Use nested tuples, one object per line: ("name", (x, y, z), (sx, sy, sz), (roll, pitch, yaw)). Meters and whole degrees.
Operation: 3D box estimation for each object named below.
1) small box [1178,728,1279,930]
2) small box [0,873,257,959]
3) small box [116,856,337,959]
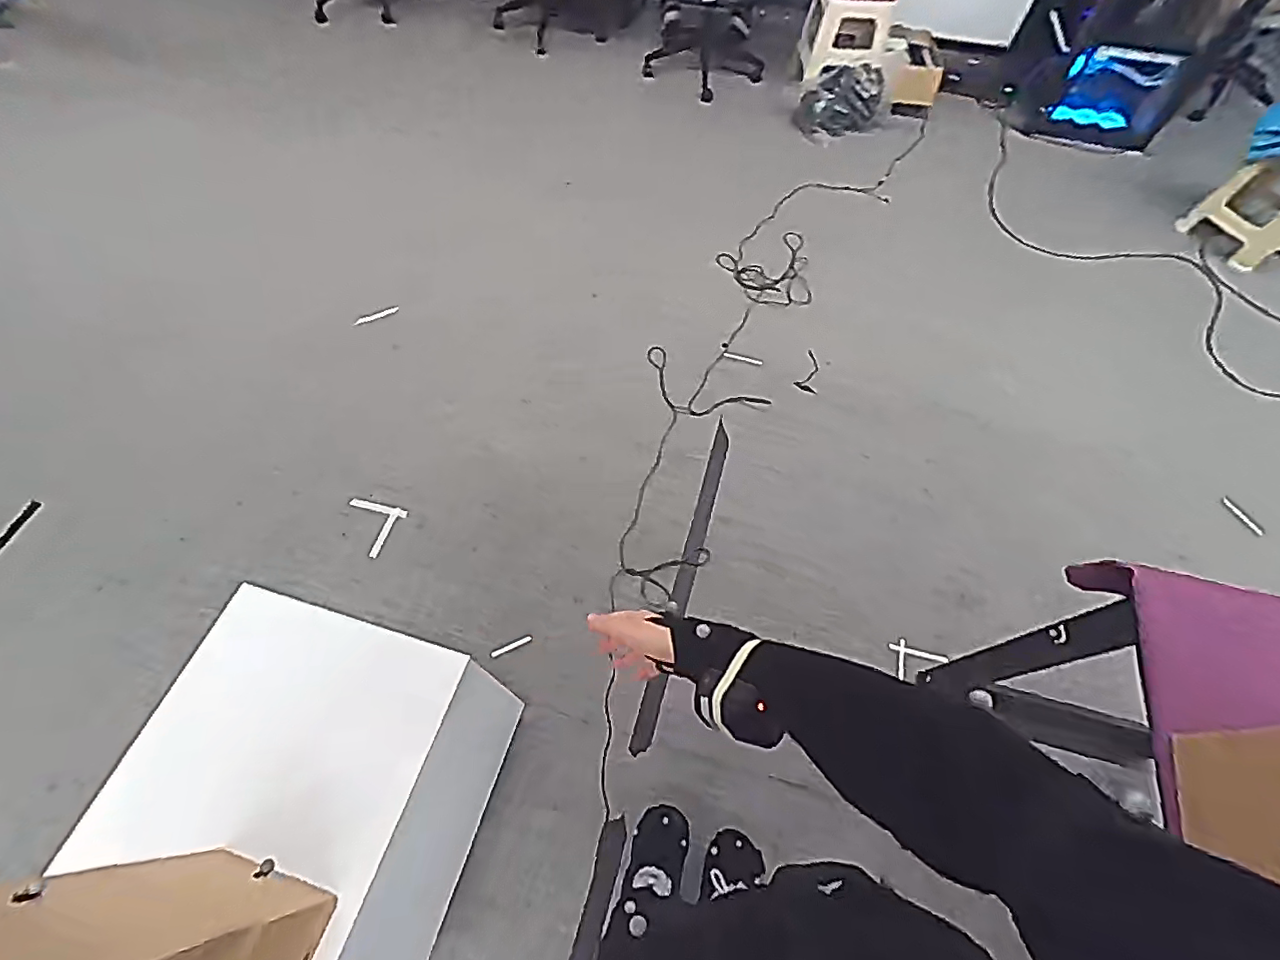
("small box", (0.706, 0.371, 0.543), (0.168, 0.176, 0.179), (18, 62, 8))
("small box", (-0.467, 0.443, 0.433), (0.179, 0.176, 0.168), (14, 61, 6))
("small box", (-0.474, 0.524, 0.575), (0.179, 0.176, 0.168), (15, 61, 7))
